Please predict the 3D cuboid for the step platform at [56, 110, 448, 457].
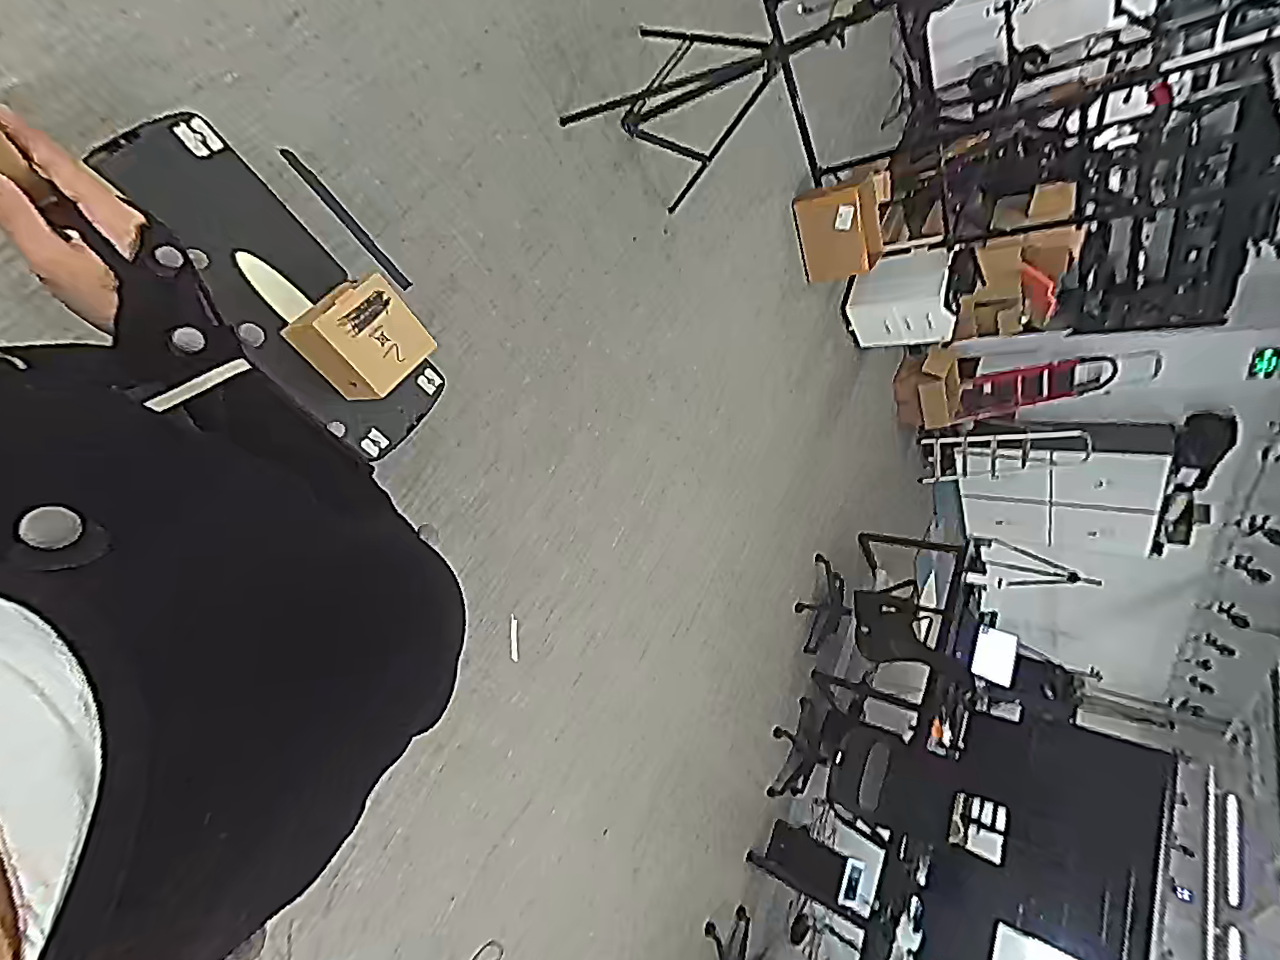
[{"bbox_3d":[-0.735,-0.357,1.130,0.684,0.204,0.286,53,55,-38],"label":"step platform"}]
